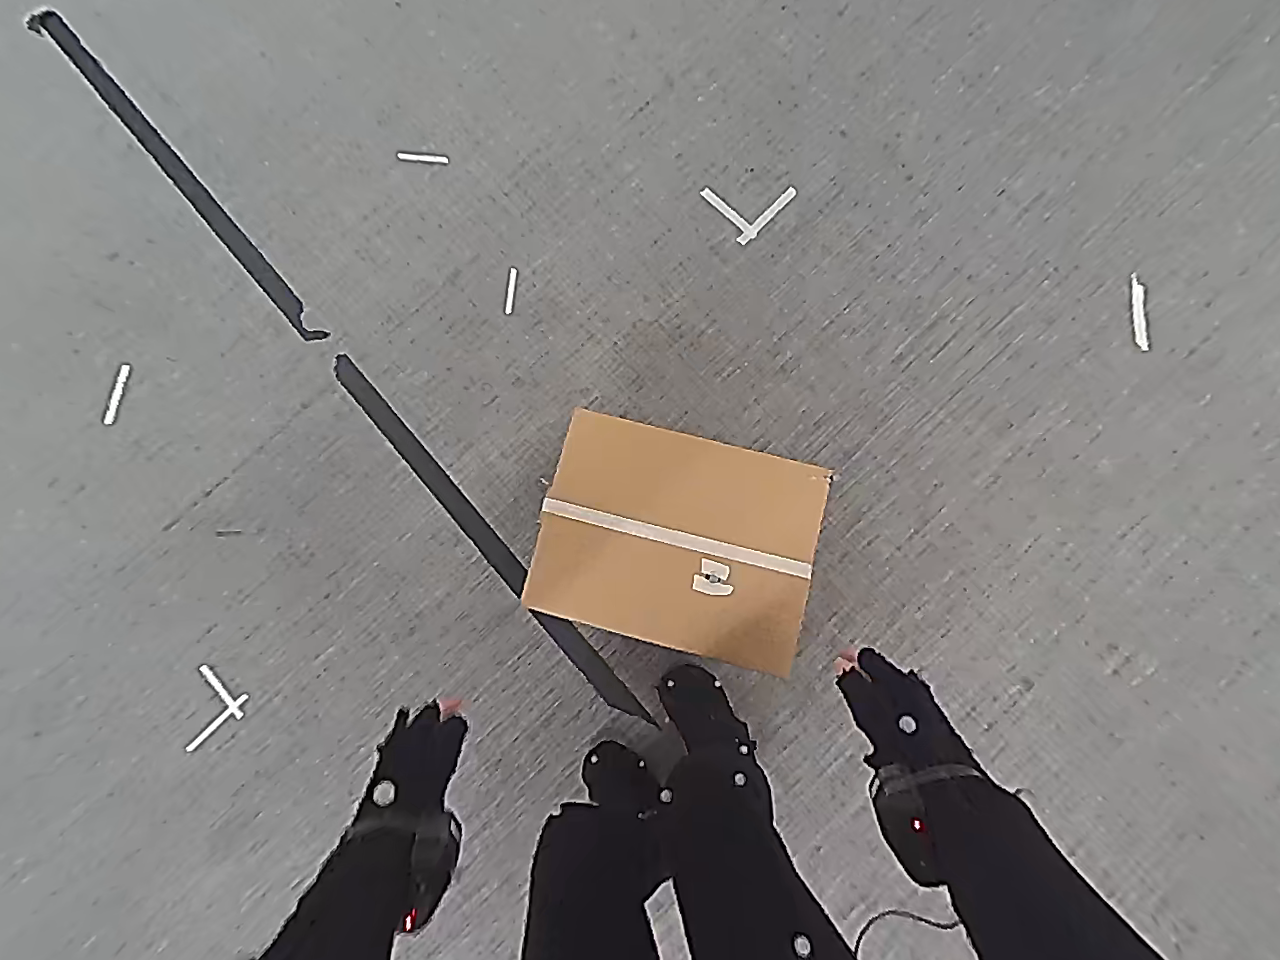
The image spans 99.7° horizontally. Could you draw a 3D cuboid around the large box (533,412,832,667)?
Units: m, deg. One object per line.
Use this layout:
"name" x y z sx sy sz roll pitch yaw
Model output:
"large box" 0.068 0.103 0.960 0.408 0.320 0.320 14 83 4
